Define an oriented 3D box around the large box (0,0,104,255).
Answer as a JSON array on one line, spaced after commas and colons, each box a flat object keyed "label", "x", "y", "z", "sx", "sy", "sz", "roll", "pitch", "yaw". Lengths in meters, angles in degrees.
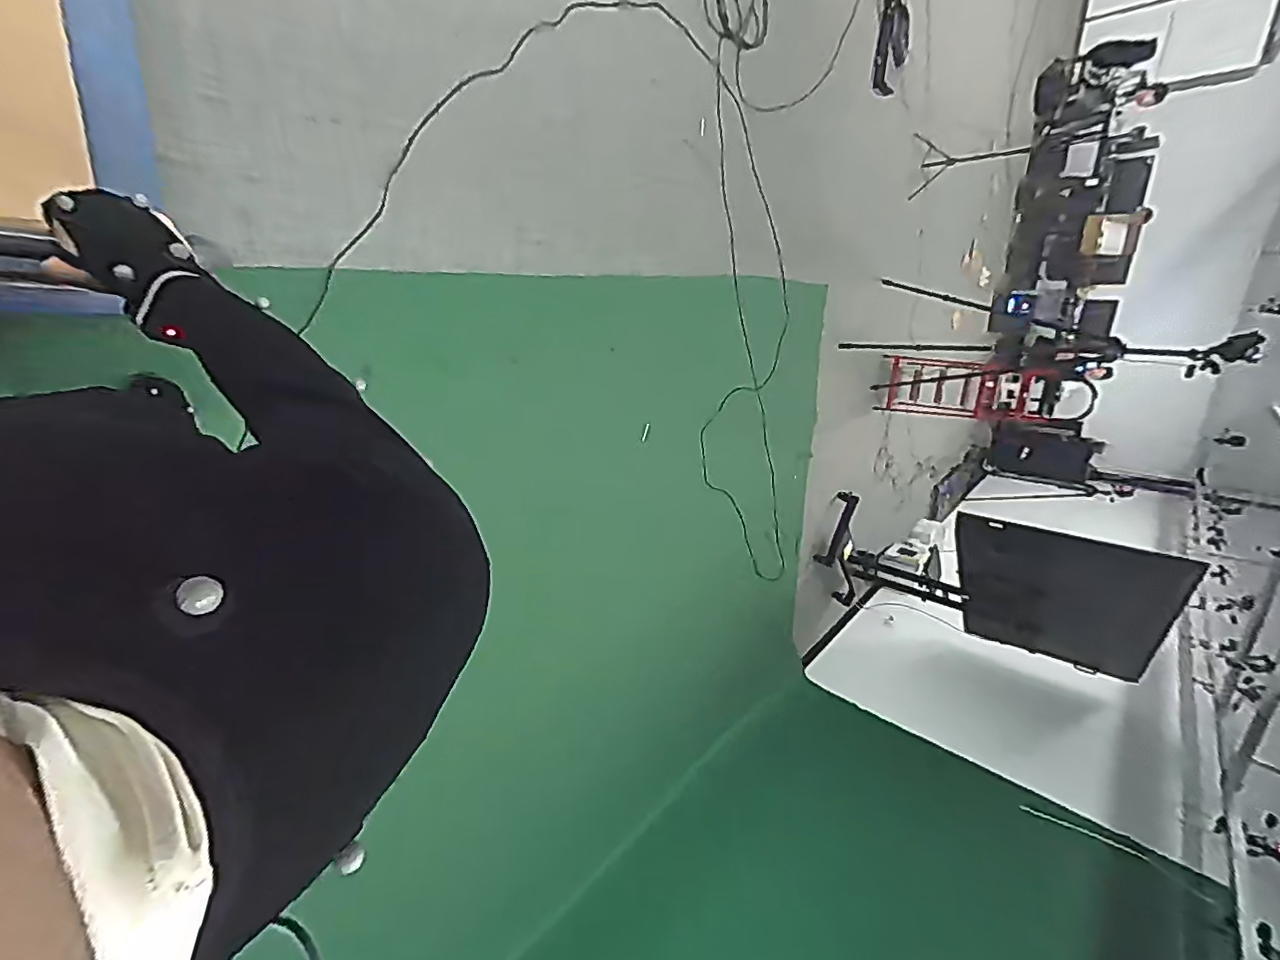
[{"label": "large box", "x": -1.006, "y": -0.546, "z": 0.743, "sx": 0.320, "sy": 0.320, "sz": 0.408, "roll": -14, "pitch": 112, "yaw": -46}]
